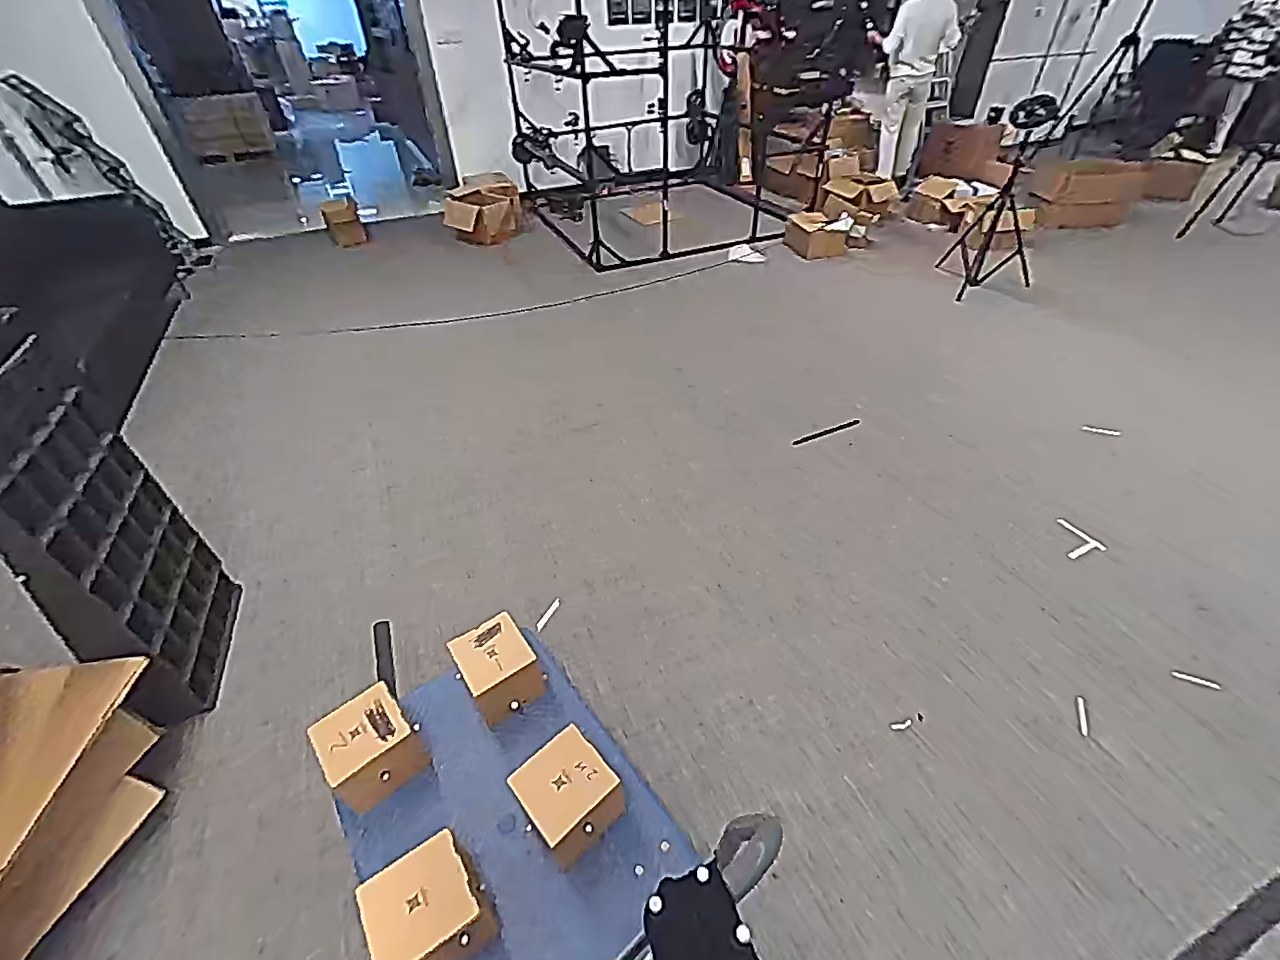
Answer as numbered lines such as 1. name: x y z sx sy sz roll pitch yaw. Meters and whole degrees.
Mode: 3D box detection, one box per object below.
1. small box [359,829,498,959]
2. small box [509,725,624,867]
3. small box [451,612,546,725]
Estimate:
1. small box: -0.387 0.806 1.005 0.179 0.176 0.168 -25 46 -26
2. small box: -0.148 0.671 1.147 0.179 0.176 0.168 -32 49 -29
3. small box: -0.356 0.480 1.375 0.168 0.176 0.179 -27 48 -25
